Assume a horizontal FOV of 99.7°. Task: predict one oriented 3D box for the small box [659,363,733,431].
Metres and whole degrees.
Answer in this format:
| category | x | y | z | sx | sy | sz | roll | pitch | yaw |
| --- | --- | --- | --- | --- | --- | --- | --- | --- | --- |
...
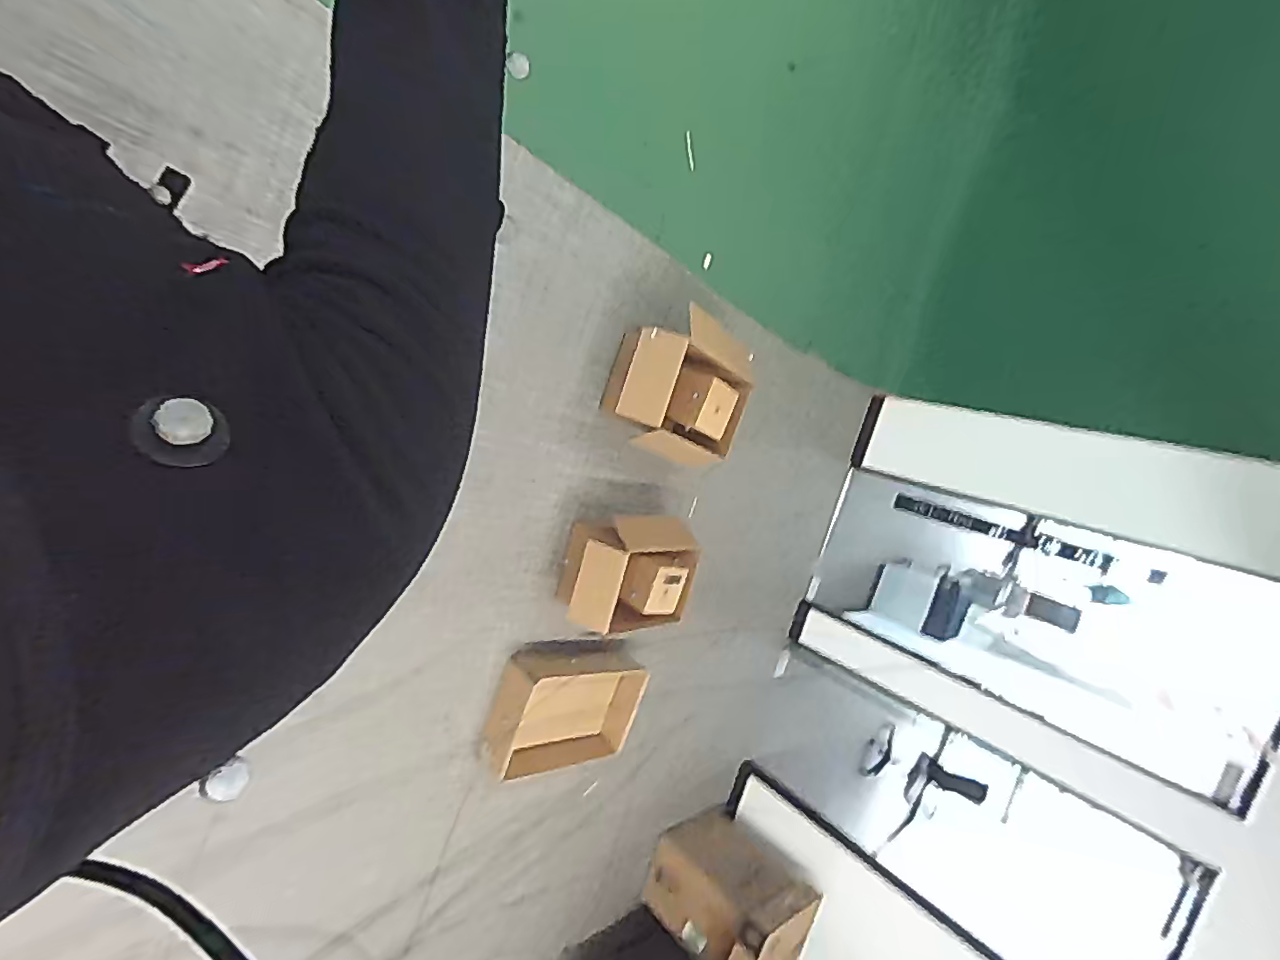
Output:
| category | x | y | z | sx | sy | sz | roll | pitch | yaw |
| --- | --- | --- | --- | --- | --- | --- | --- | --- | --- |
| small box | 0.189 | -0.291 | 1.890 | 0.168 | 0.176 | 0.179 | 19 | 93 | -48 |
